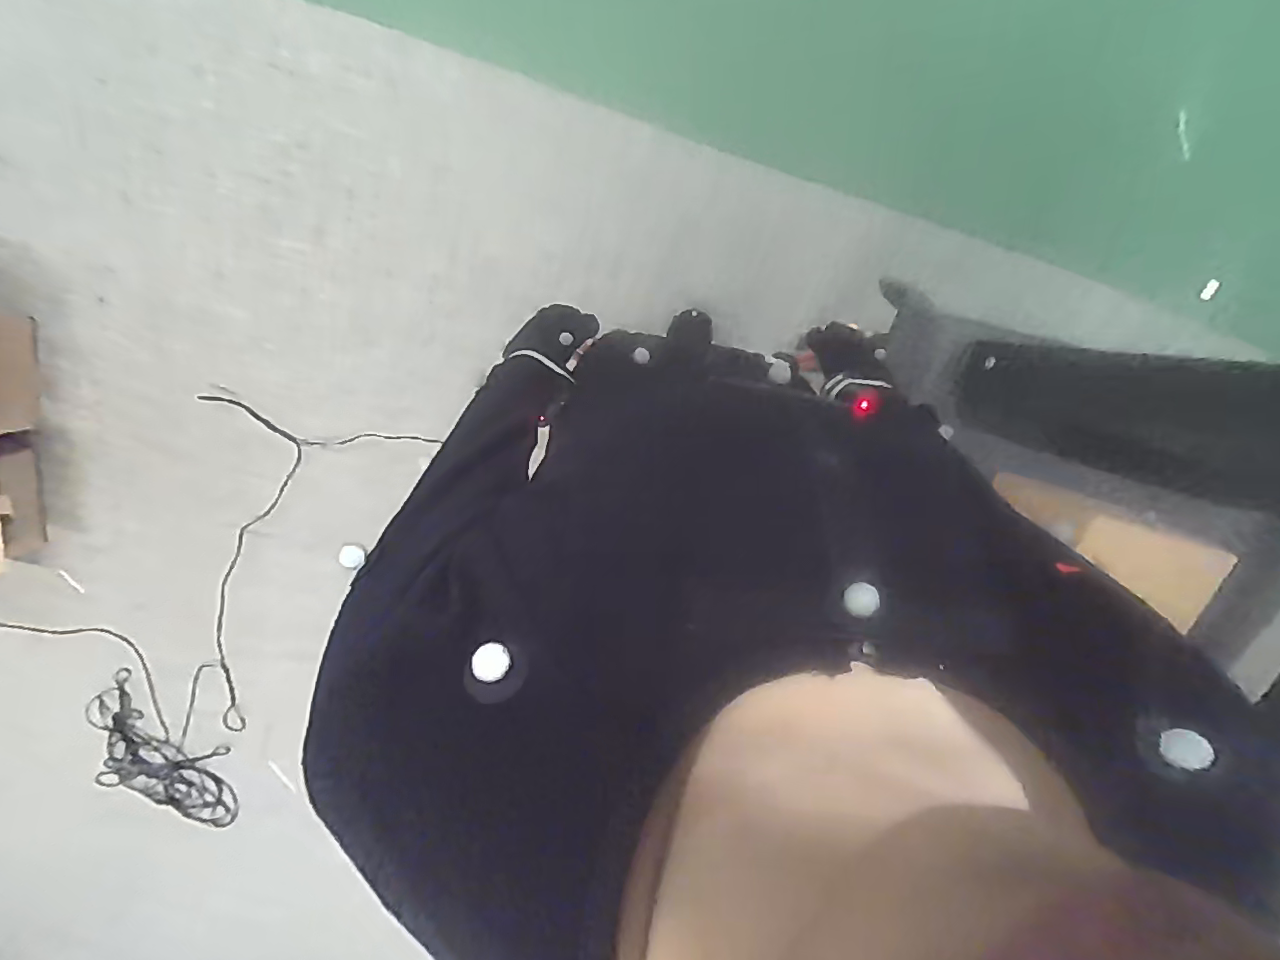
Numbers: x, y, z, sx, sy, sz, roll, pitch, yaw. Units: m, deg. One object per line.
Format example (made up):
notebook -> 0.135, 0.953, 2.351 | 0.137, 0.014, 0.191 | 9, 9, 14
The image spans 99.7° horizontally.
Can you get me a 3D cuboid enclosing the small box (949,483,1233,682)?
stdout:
small box -> 0.541, 0.117, 0.679 | 0.179, 0.176, 0.168 | 16, 105, -4
